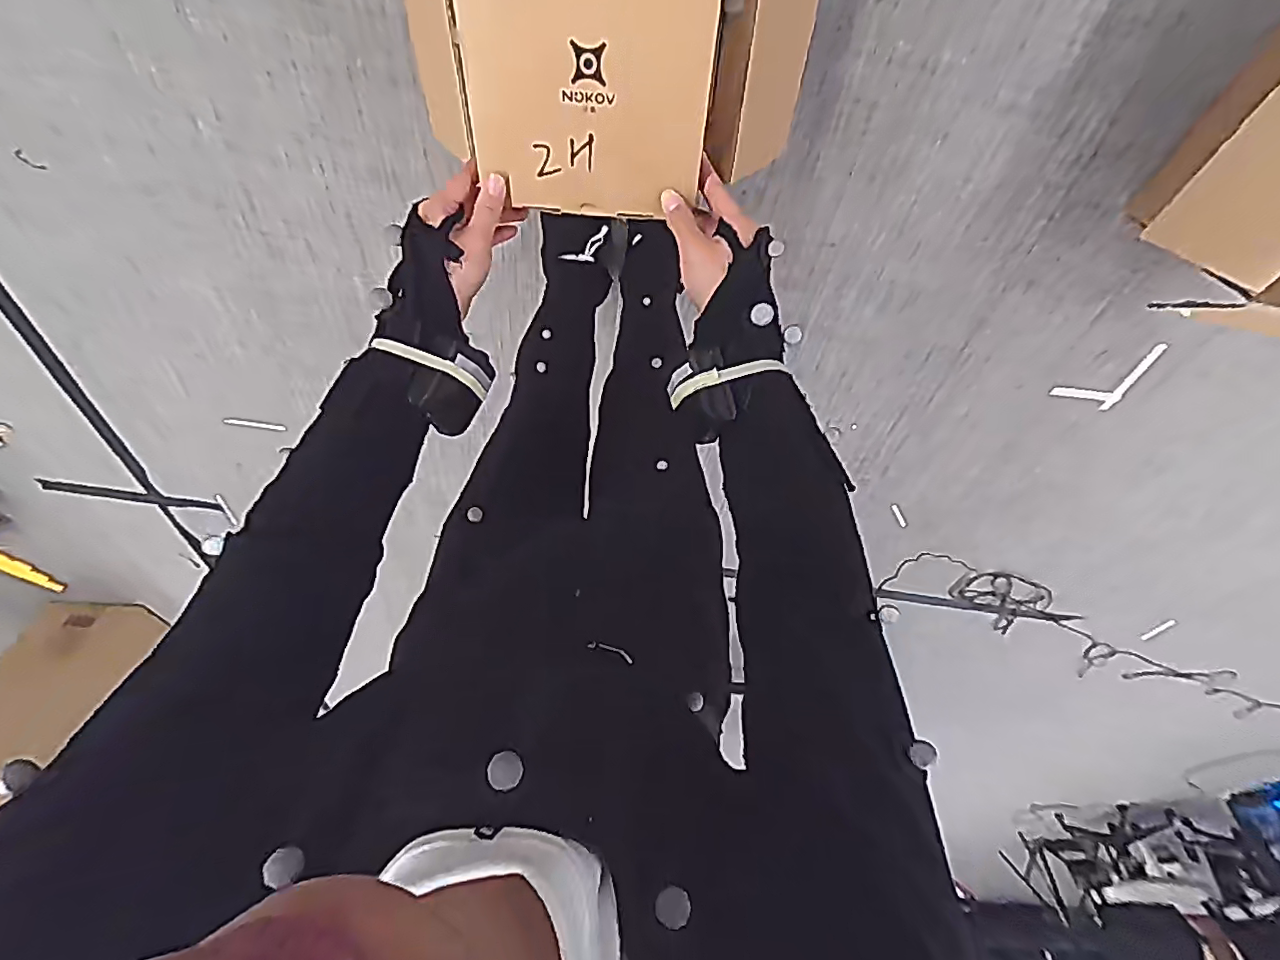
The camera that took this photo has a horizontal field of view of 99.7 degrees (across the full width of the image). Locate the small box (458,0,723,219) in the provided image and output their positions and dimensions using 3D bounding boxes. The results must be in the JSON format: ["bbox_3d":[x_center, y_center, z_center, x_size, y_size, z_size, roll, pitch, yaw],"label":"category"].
[{"bbox_3d":[-0.031,-0.326,0.412,0.168,0.176,0.179,4,137,-1],"label":"small box"}]
